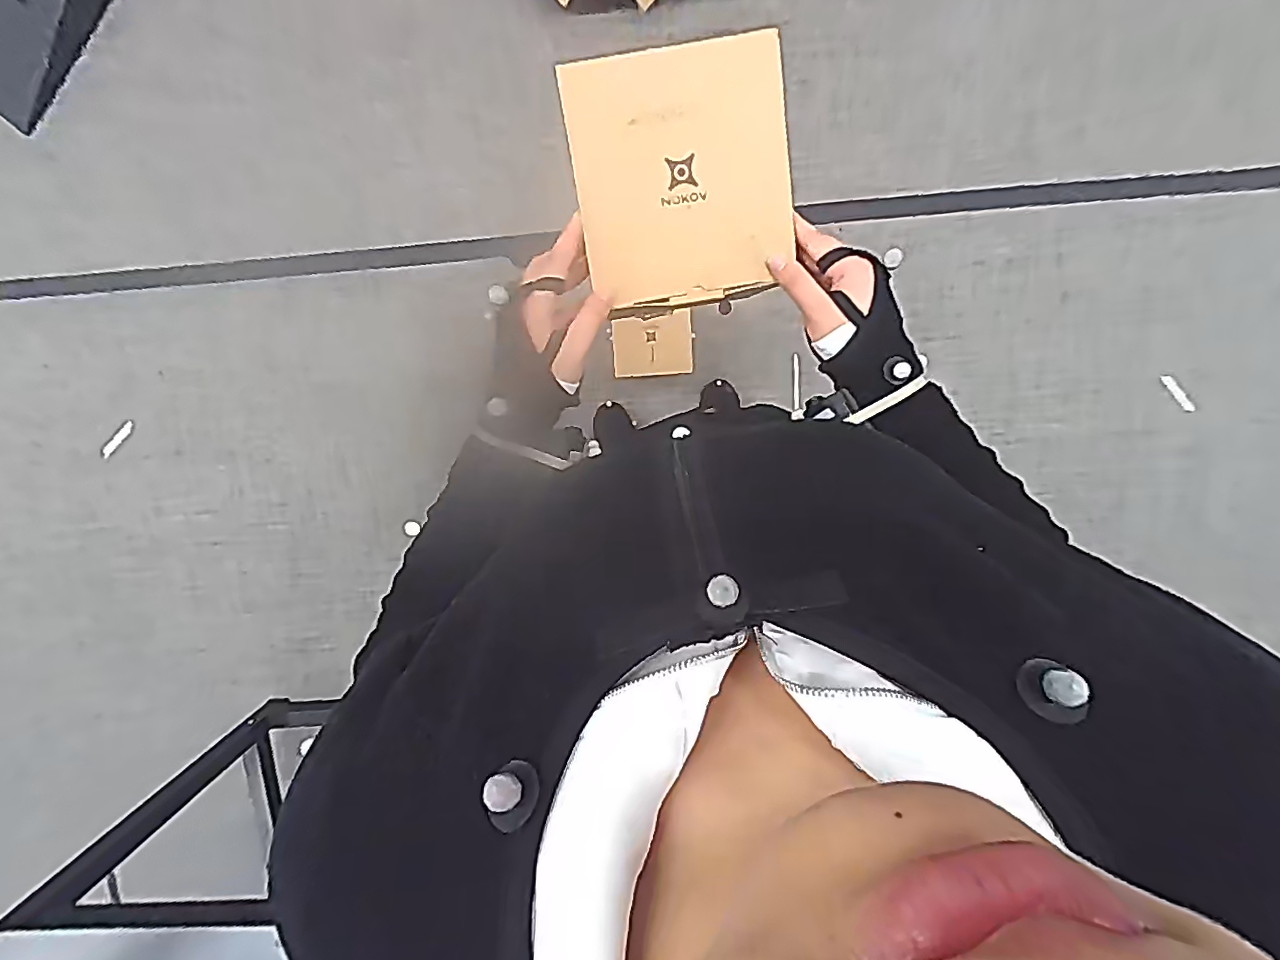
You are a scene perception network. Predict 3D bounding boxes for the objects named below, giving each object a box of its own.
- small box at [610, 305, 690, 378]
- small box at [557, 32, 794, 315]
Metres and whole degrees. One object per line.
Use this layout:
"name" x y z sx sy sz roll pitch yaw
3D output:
"small box" 0.020 -0.318 1.198 0.168 0.176 0.179 -3 101 1
"small box" 0.029 -0.250 0.491 0.168 0.176 0.179 -10 104 0
